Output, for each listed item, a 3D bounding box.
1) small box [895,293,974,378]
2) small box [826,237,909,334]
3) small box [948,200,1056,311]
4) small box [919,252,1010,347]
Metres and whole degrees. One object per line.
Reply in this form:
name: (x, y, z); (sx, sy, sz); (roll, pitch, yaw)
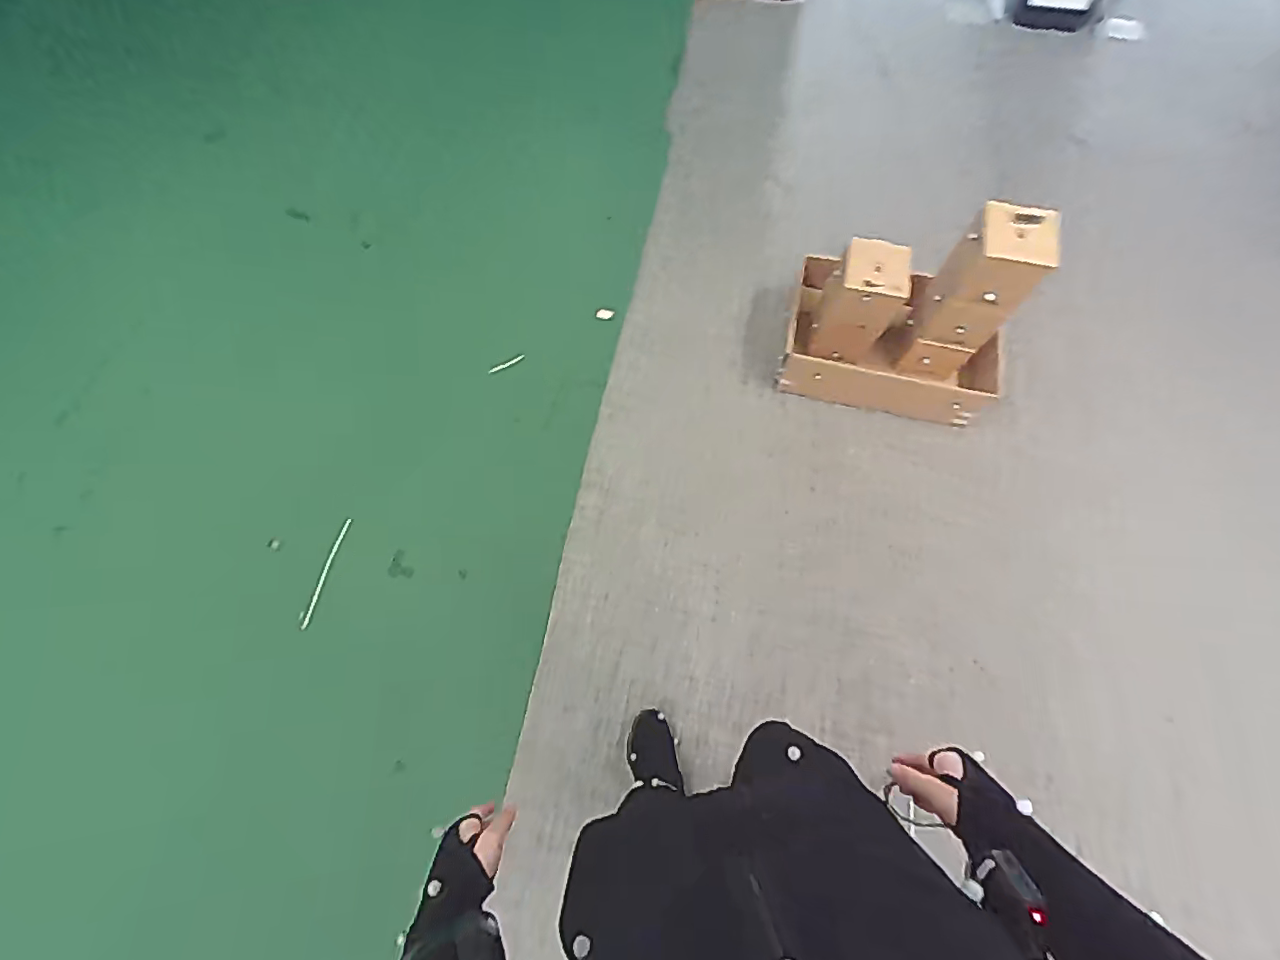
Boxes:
small box: (0.900, -0.436, 1.656); (0.168, 0.176, 0.179); (13, 70, 6)
small box: (0.633, -0.544, 1.519); (0.168, 0.176, 0.179); (11, 70, 4)
small box: (0.897, -0.556, 1.350); (0.168, 0.176, 0.179); (12, 71, 6)
small box: (0.899, -0.496, 1.503); (0.168, 0.176, 0.179); (13, 70, 6)
